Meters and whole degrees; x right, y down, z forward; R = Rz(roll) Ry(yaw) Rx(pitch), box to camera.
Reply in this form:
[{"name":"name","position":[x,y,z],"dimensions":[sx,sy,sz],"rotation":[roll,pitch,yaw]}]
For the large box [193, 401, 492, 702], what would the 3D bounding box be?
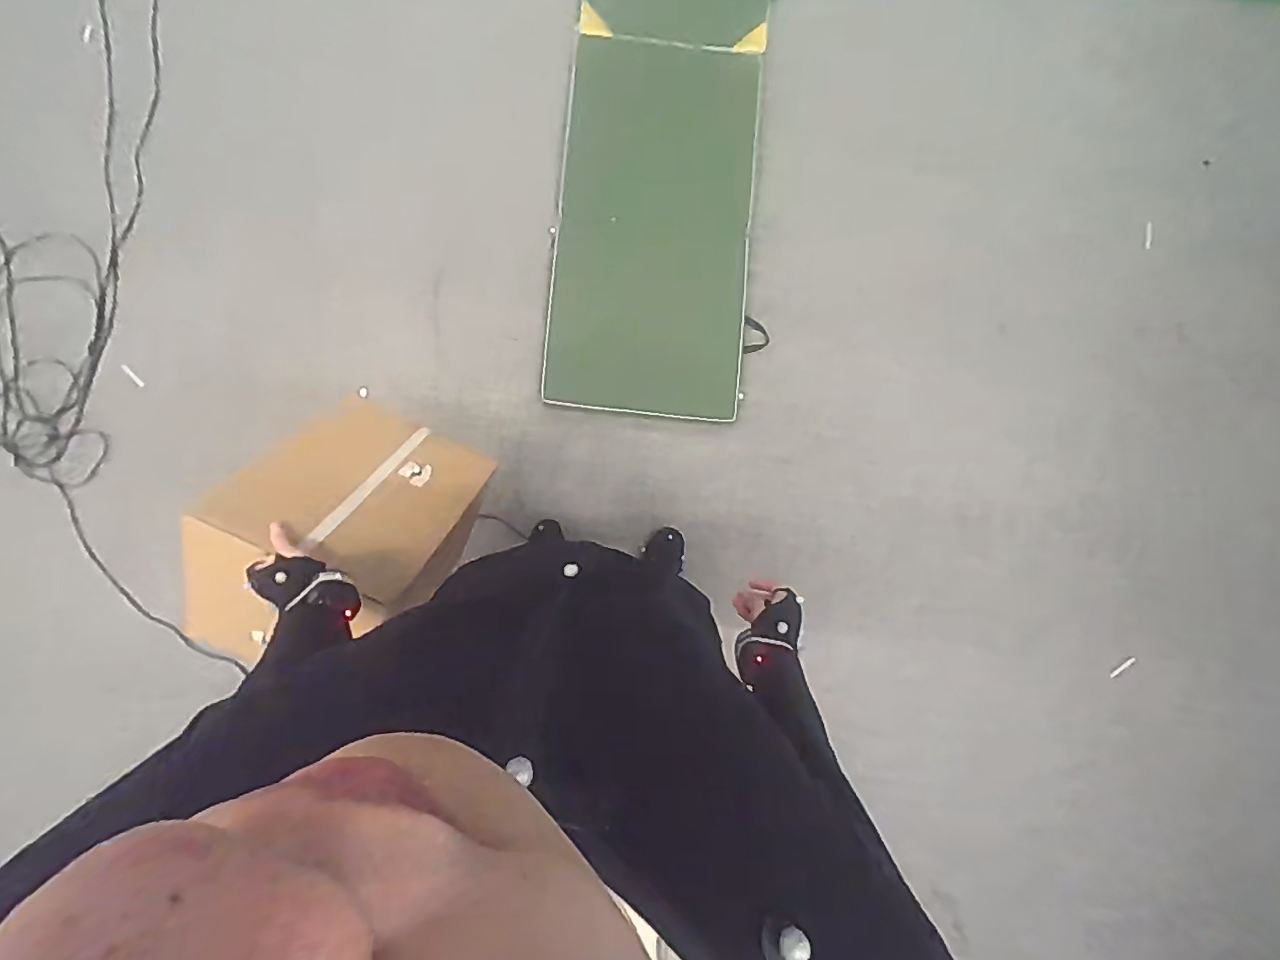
[{"name":"large box","position":[-0.532,0.121,1.016],"dimensions":[0.320,0.408,0.320],"rotation":[28,123,-8]}]
